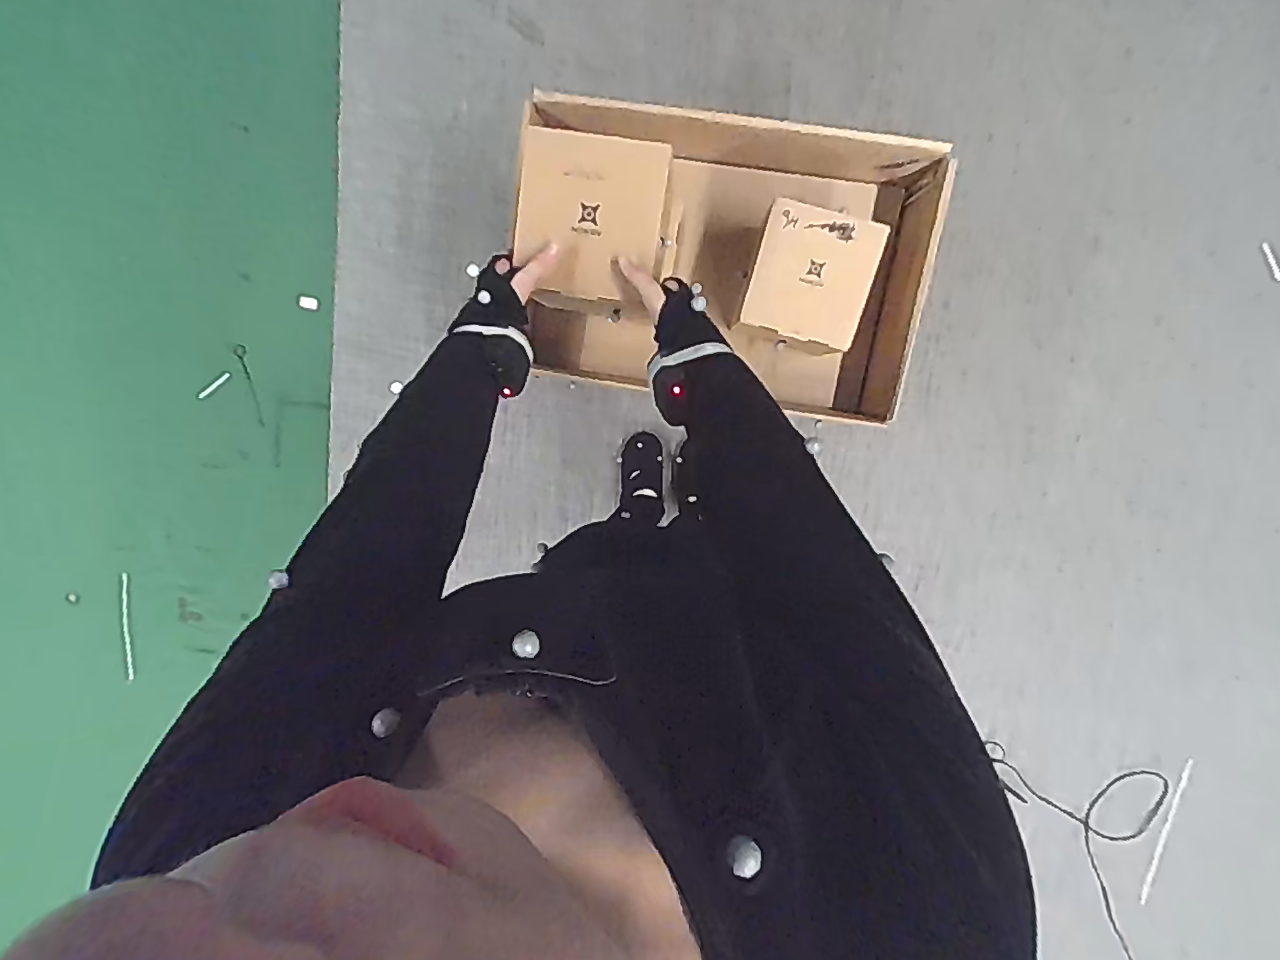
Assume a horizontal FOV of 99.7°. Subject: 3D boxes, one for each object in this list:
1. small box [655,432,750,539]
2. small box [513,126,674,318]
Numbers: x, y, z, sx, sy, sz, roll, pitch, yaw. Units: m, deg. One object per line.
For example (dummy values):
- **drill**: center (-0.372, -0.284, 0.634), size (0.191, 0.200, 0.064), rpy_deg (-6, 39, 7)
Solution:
- **small box**: center (0.150, 0.016, 1.382), size (0.179, 0.176, 0.168), rpy_deg (-35, 64, -21)
- **small box**: center (-0.050, -0.314, 0.696), size (0.168, 0.176, 0.179), rpy_deg (10, 101, 3)
